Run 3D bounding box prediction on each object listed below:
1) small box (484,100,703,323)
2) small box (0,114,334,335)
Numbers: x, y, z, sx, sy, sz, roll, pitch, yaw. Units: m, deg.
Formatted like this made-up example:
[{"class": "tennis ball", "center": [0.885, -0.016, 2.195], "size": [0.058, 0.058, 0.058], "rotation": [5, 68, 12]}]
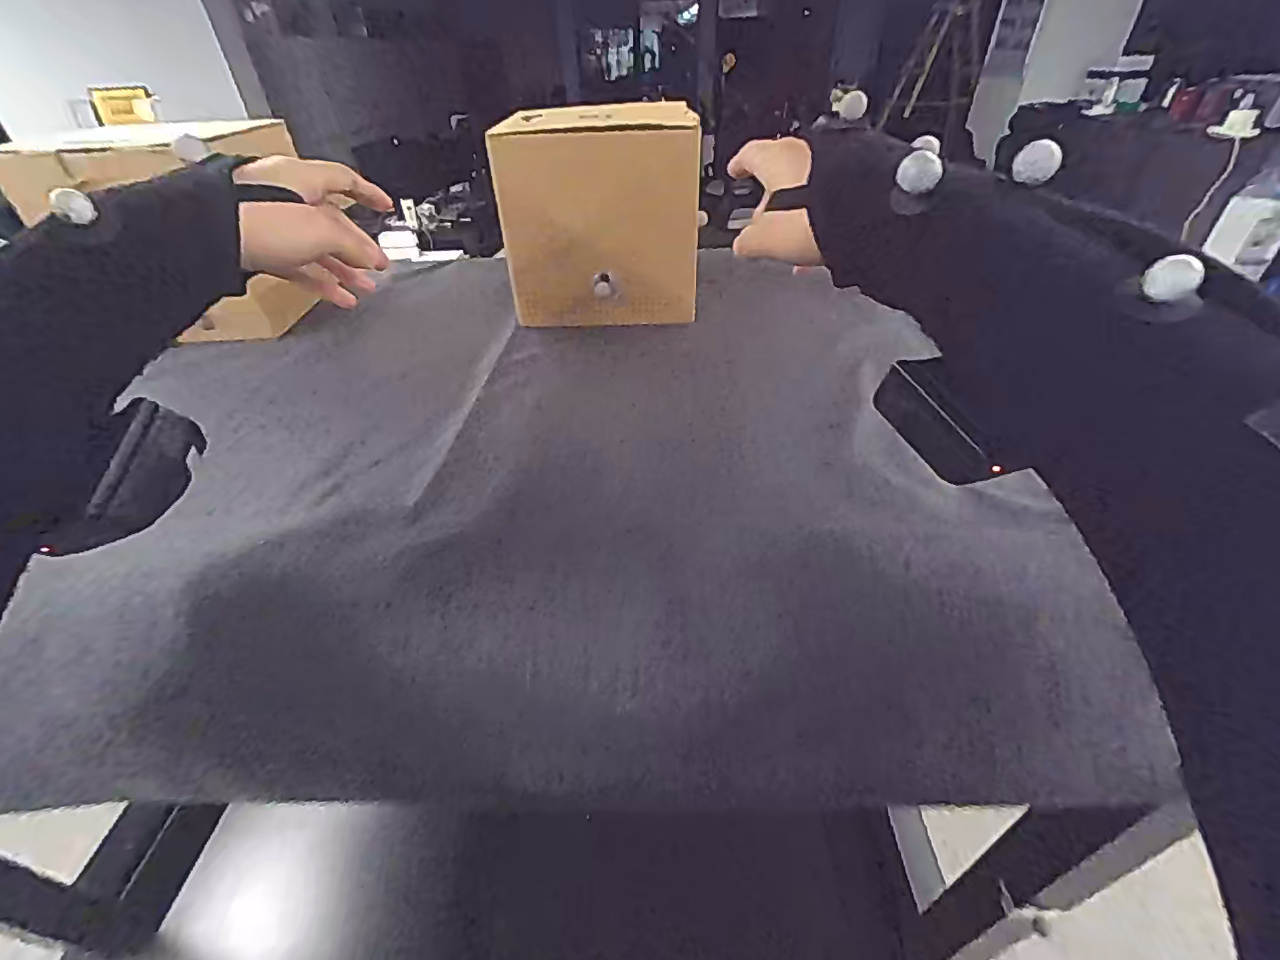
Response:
[{"class": "small box", "center": [-0.036, -0.266, 0.538], "size": [0.179, 0.176, 0.168], "rotation": [-1, 39, 1]}, {"class": "small box", "center": [-0.443, -0.254, 0.542], "size": [0.168, 0.176, 0.179], "rotation": [-3, 39, -1]}]
